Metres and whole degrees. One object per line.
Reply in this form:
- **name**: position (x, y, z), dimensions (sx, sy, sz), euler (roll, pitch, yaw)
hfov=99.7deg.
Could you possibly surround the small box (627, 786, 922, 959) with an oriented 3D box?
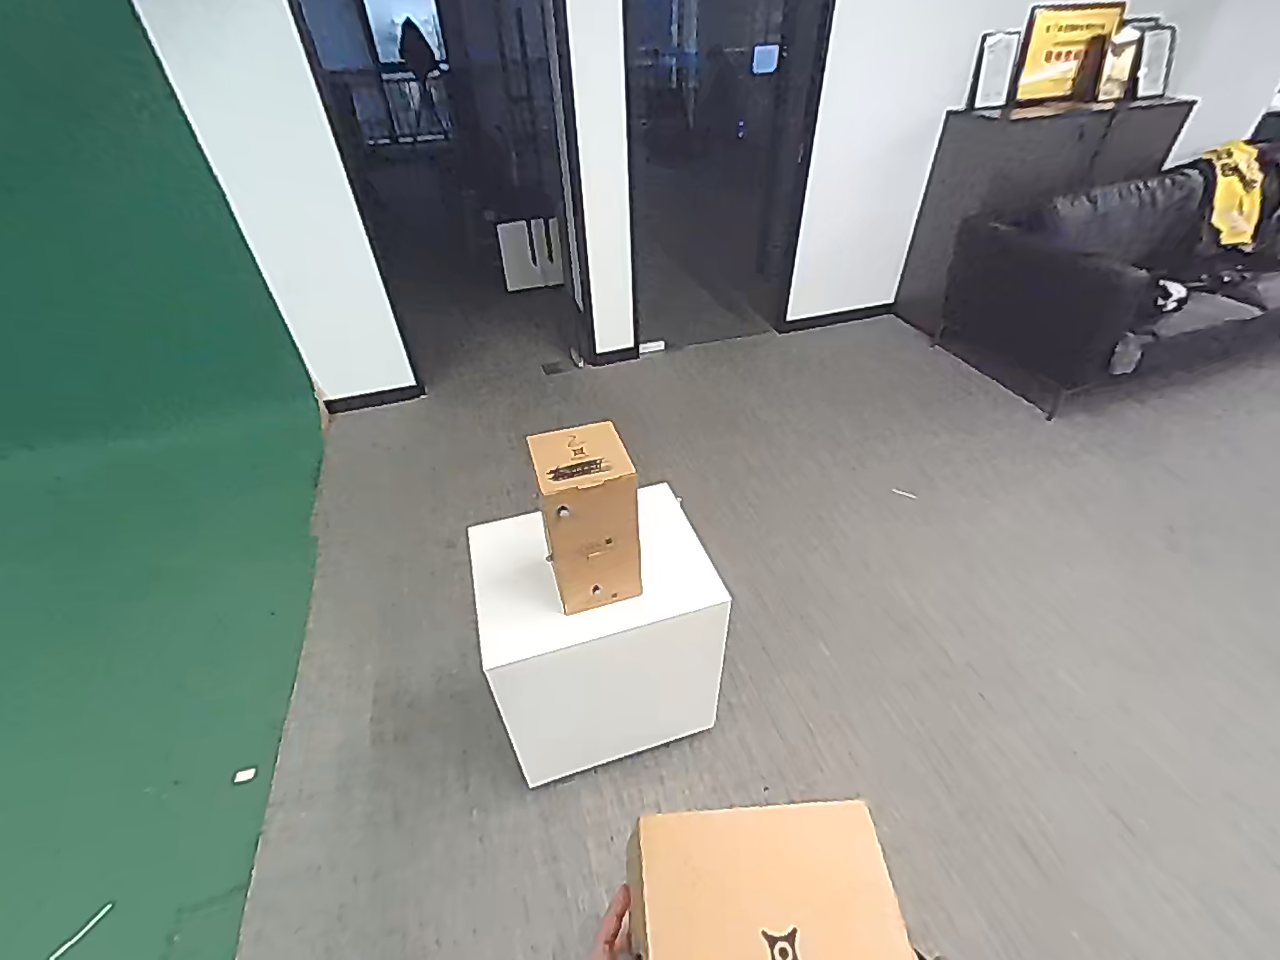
- **small box**: position (0.079, 0.333, 0.375), dimensions (0.168, 0.176, 0.179), euler (0, 48, -5)

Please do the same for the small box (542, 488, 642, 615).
- **small box**: position (-0.099, 0.146, 1.114), dimensions (0.168, 0.176, 0.179), euler (-13, 40, -13)
